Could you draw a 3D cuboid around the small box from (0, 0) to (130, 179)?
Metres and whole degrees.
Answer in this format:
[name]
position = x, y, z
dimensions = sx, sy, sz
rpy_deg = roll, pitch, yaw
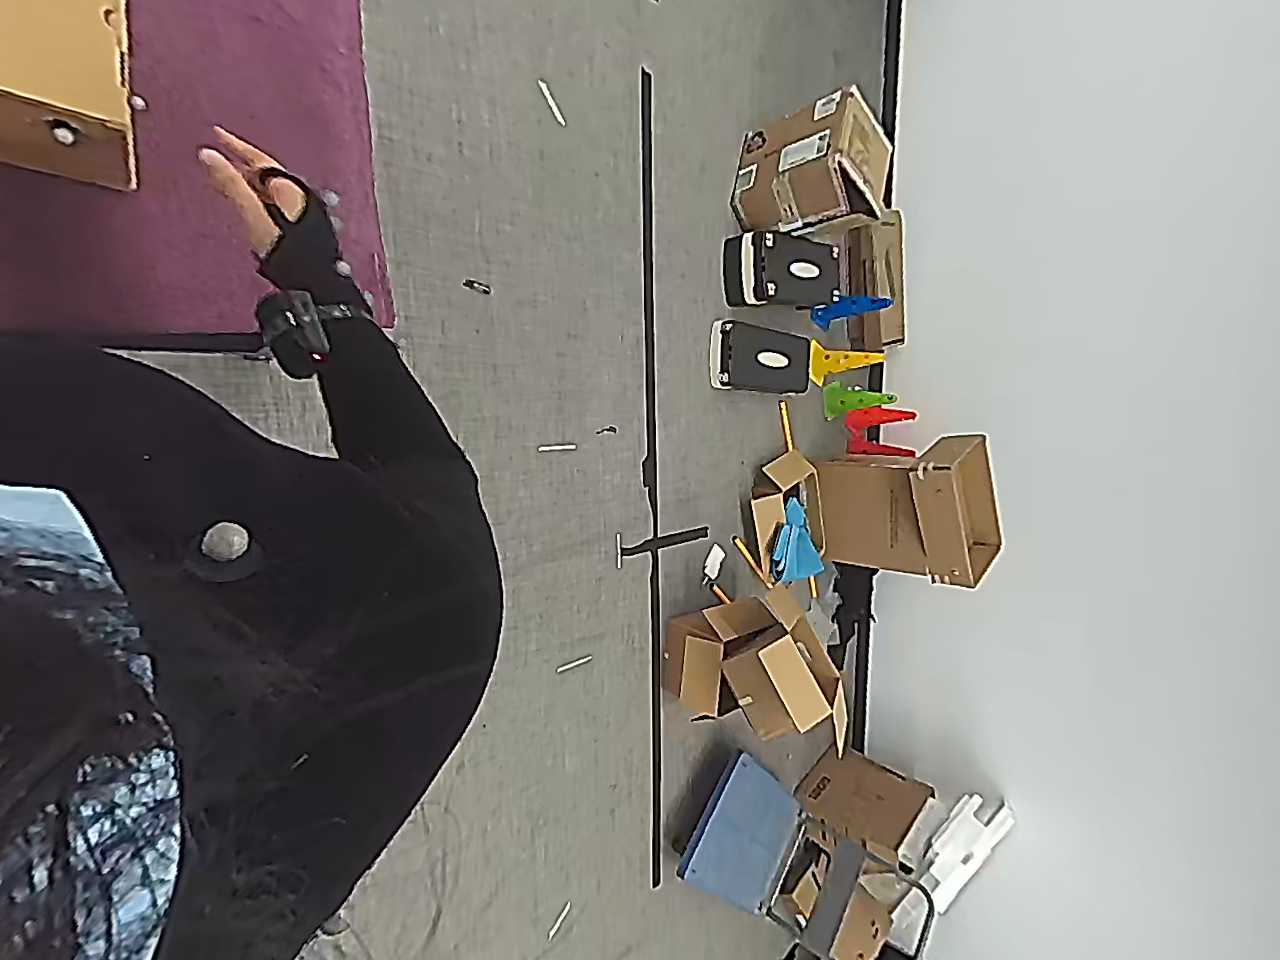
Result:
[small box]
position = -0.537, -0.374, 0.437
dimensions = 0.179, 0.176, 0.168
rpy_deg = -4, 96, -44
